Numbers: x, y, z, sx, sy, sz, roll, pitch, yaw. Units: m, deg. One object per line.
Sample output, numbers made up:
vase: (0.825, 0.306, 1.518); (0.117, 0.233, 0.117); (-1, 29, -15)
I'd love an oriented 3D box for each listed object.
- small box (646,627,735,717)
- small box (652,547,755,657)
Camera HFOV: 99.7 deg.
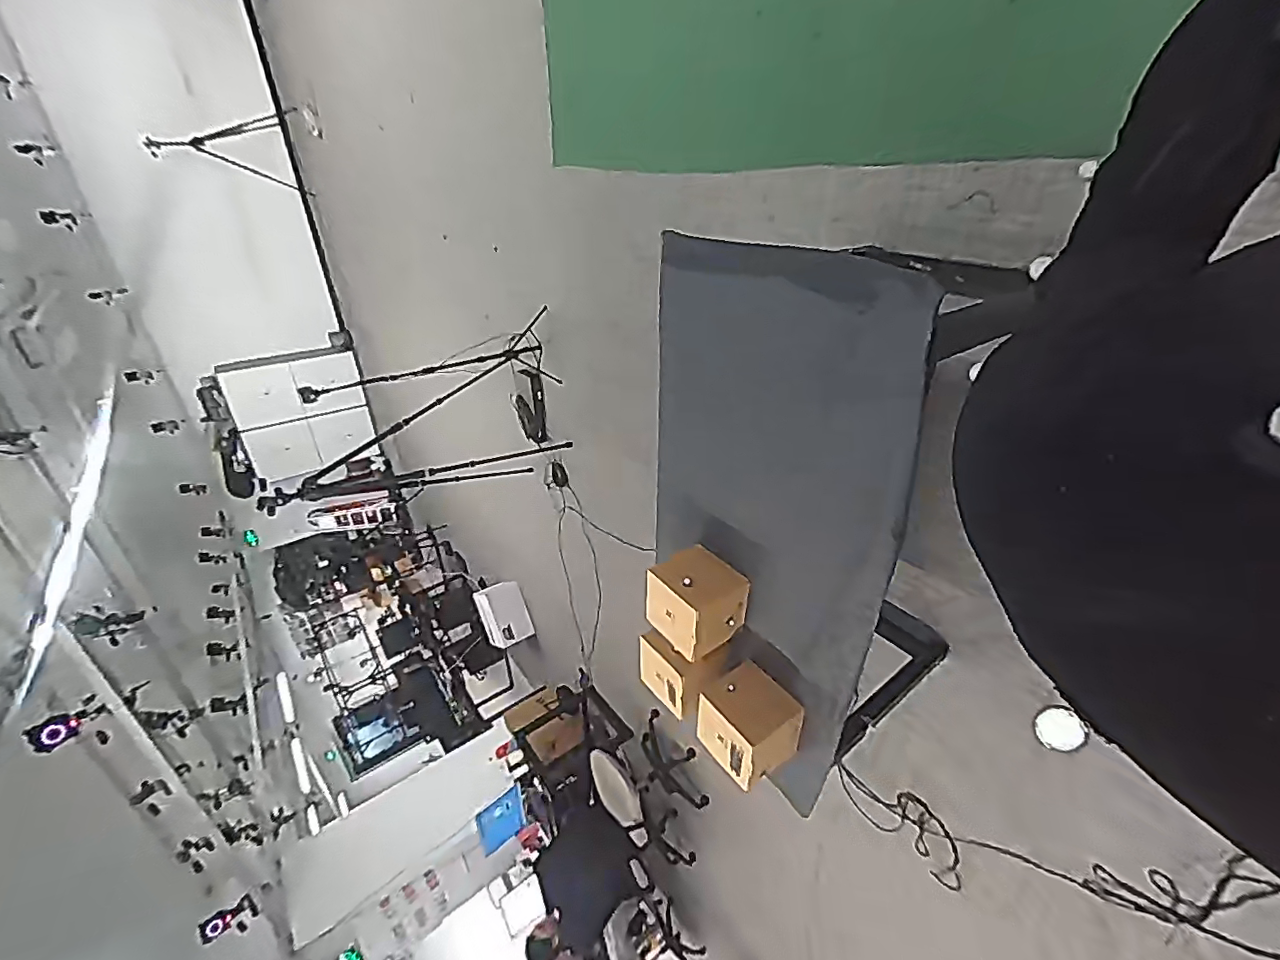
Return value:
small box: (0.134, 0.478, 1.437); (0.179, 0.176, 0.168); (33, 134, 45)
small box: (0.149, 0.281, 1.300); (0.179, 0.176, 0.168); (34, 135, 42)
